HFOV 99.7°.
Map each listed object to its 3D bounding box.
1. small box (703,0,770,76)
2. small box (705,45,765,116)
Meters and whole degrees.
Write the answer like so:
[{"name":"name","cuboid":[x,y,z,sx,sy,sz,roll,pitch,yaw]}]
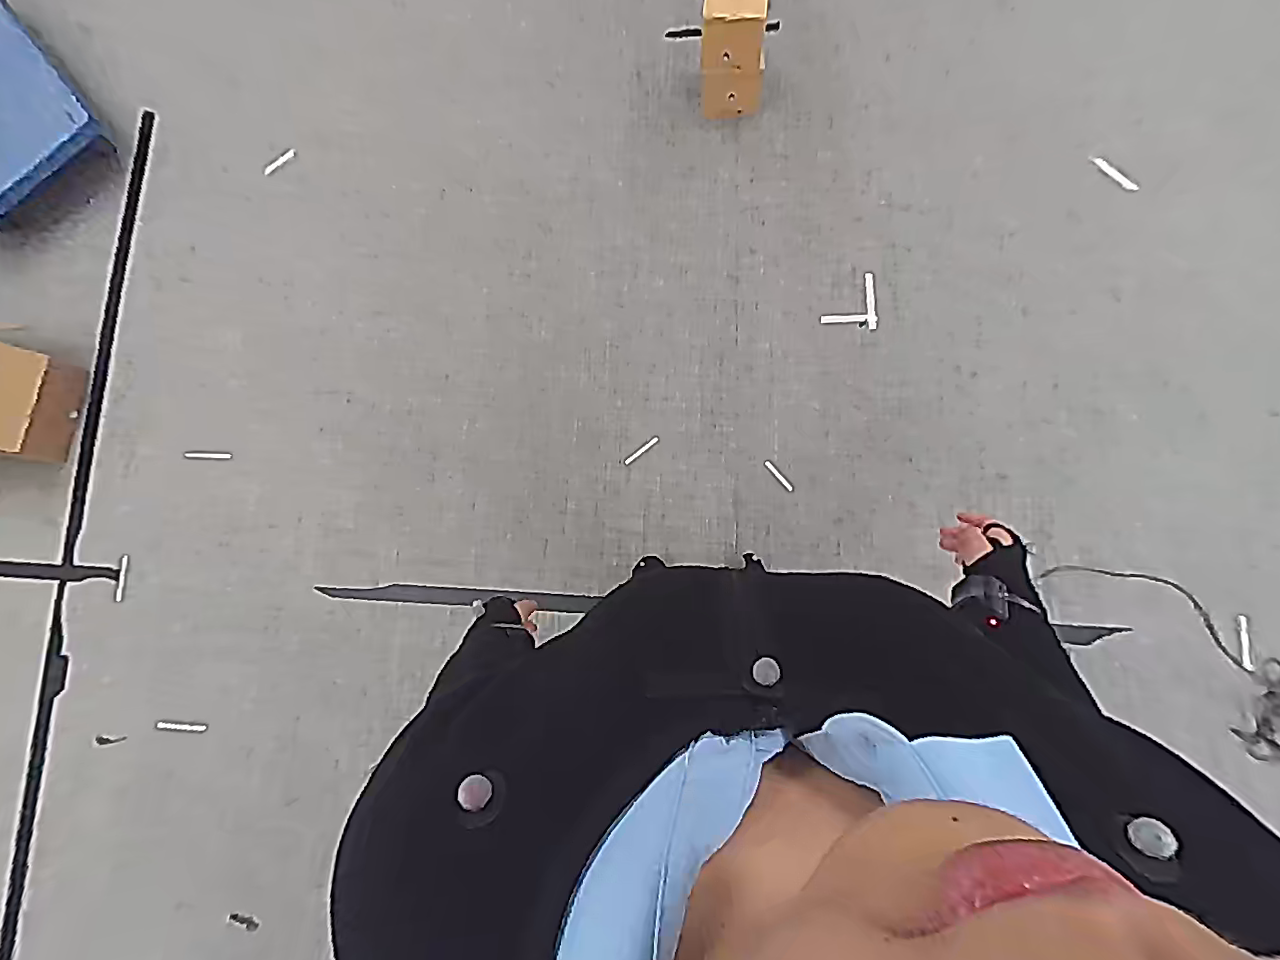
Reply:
[{"name":"small box","cuboid":[0.262,-1.250,1.468,0.168,0.176,0.179,6,83,6]},{"name":"small box","cuboid":[0.283,-1.231,1.628,0.168,0.176,0.179,-1,81,5]}]
